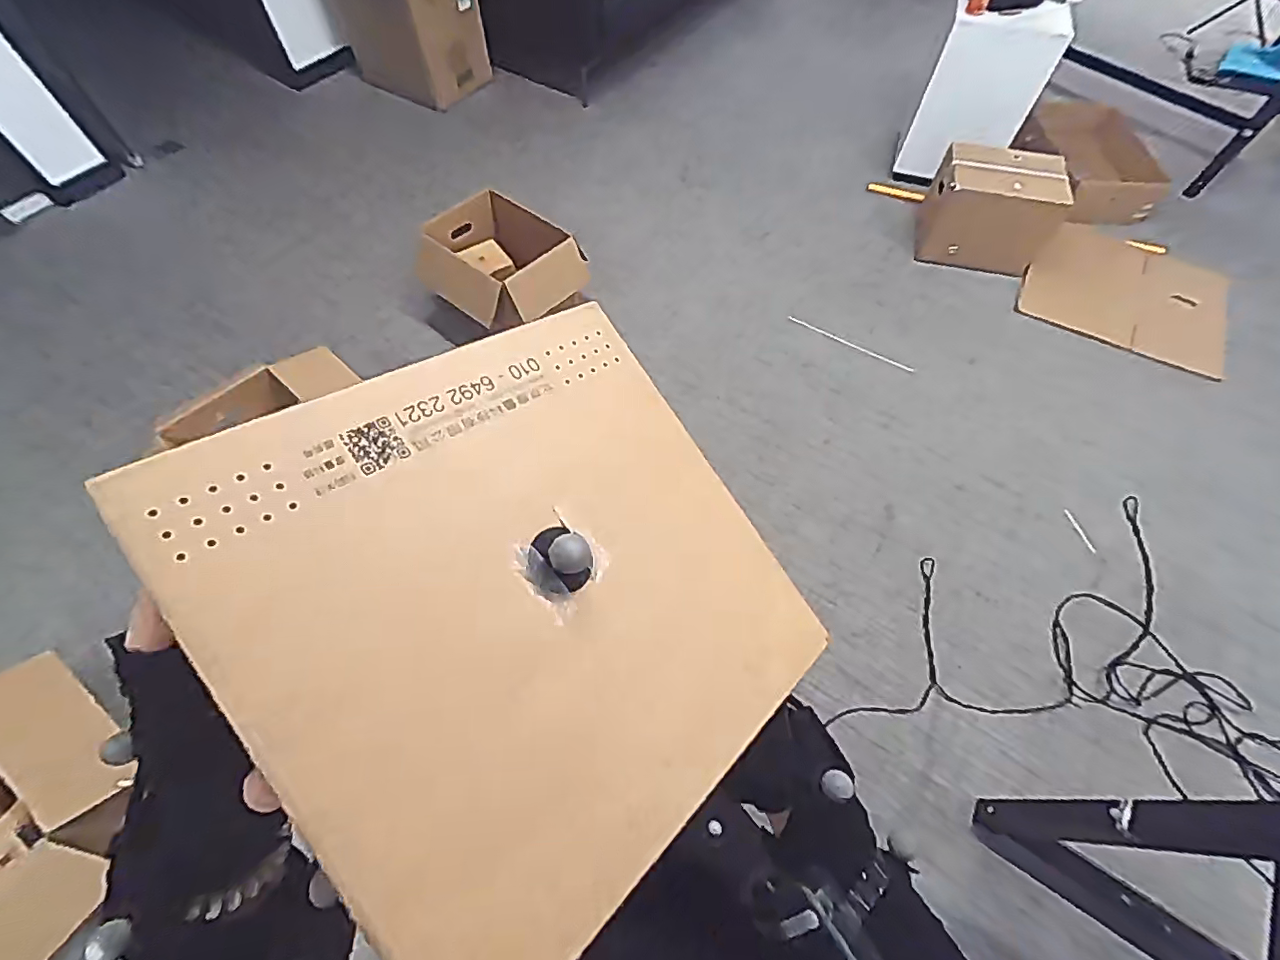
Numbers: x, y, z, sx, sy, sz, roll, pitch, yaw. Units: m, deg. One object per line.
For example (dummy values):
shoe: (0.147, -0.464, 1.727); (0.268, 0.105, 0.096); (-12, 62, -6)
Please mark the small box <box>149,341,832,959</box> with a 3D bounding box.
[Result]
small box: (-0.062, 0.060, 0.239); (0.168, 0.179, 0.176); (-32, 86, -35)
